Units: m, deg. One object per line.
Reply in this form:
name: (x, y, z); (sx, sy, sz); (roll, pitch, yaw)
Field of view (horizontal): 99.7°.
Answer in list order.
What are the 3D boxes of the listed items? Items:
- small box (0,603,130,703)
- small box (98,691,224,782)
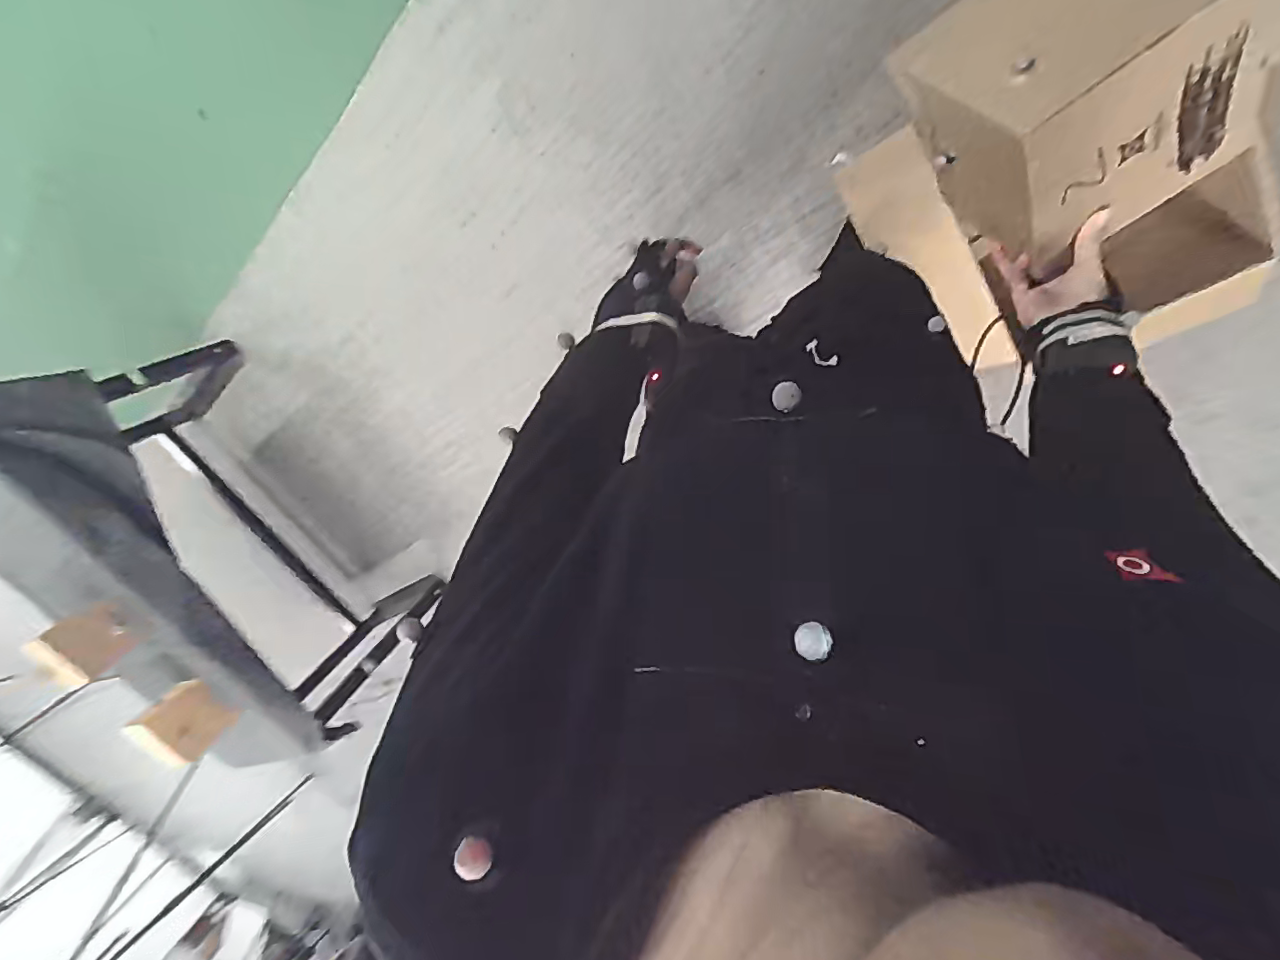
small box: (-1.509, 0.453, 1.420); (0.179, 0.176, 0.168); (-25, 110, 30)
small box: (-1.335, 0.713, 1.516); (0.168, 0.176, 0.179); (-20, 112, 29)
